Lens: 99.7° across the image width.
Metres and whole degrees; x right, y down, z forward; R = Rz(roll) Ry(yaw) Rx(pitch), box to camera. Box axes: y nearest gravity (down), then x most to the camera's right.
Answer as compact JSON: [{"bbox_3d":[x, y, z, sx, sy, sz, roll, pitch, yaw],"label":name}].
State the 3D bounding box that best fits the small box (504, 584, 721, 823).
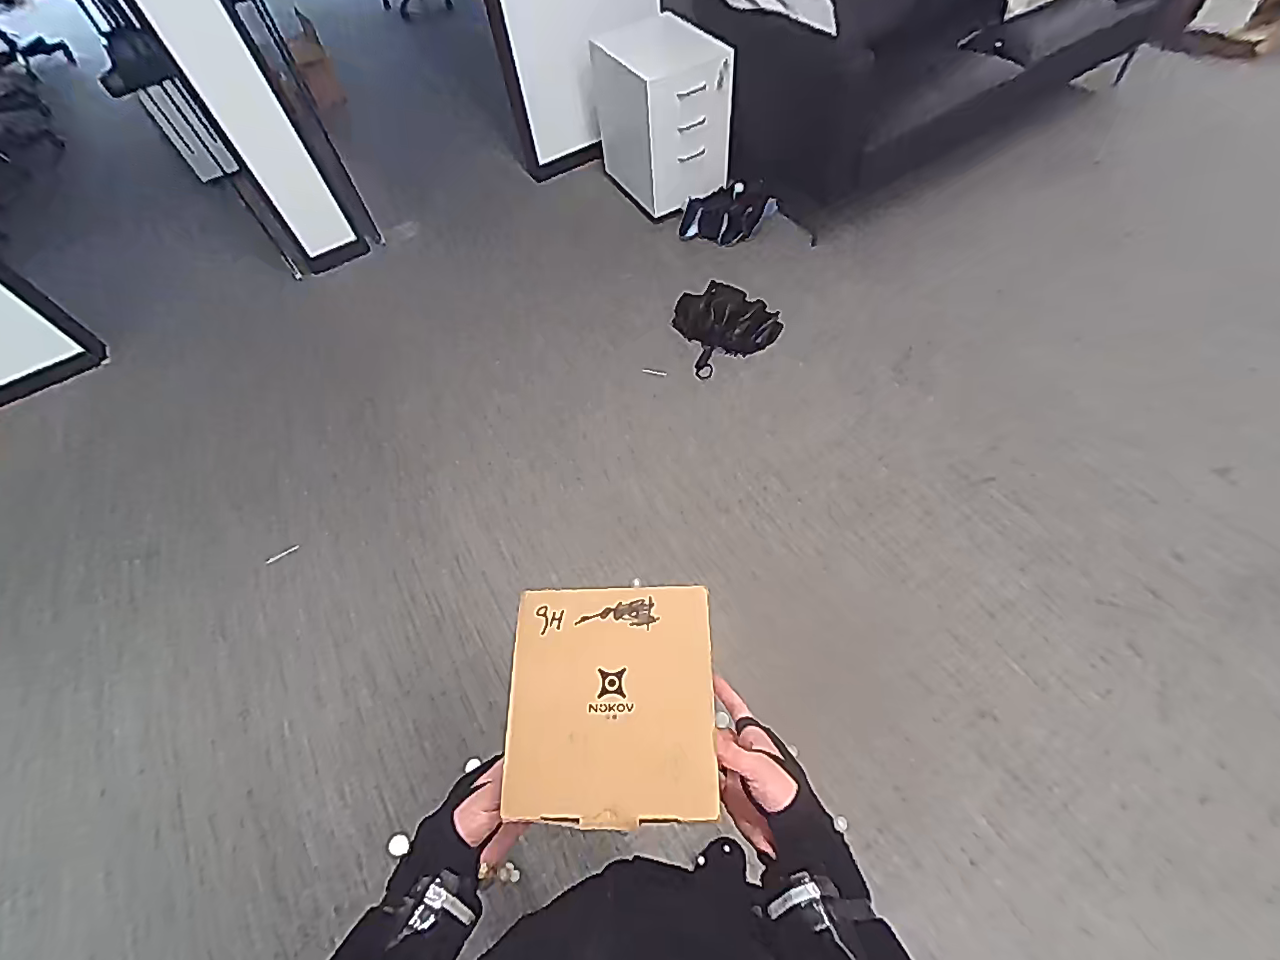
[{"bbox_3d":[-0.014,0.203,0.501,0.168,0.176,0.179,-2,64,3],"label":"small box"}]
